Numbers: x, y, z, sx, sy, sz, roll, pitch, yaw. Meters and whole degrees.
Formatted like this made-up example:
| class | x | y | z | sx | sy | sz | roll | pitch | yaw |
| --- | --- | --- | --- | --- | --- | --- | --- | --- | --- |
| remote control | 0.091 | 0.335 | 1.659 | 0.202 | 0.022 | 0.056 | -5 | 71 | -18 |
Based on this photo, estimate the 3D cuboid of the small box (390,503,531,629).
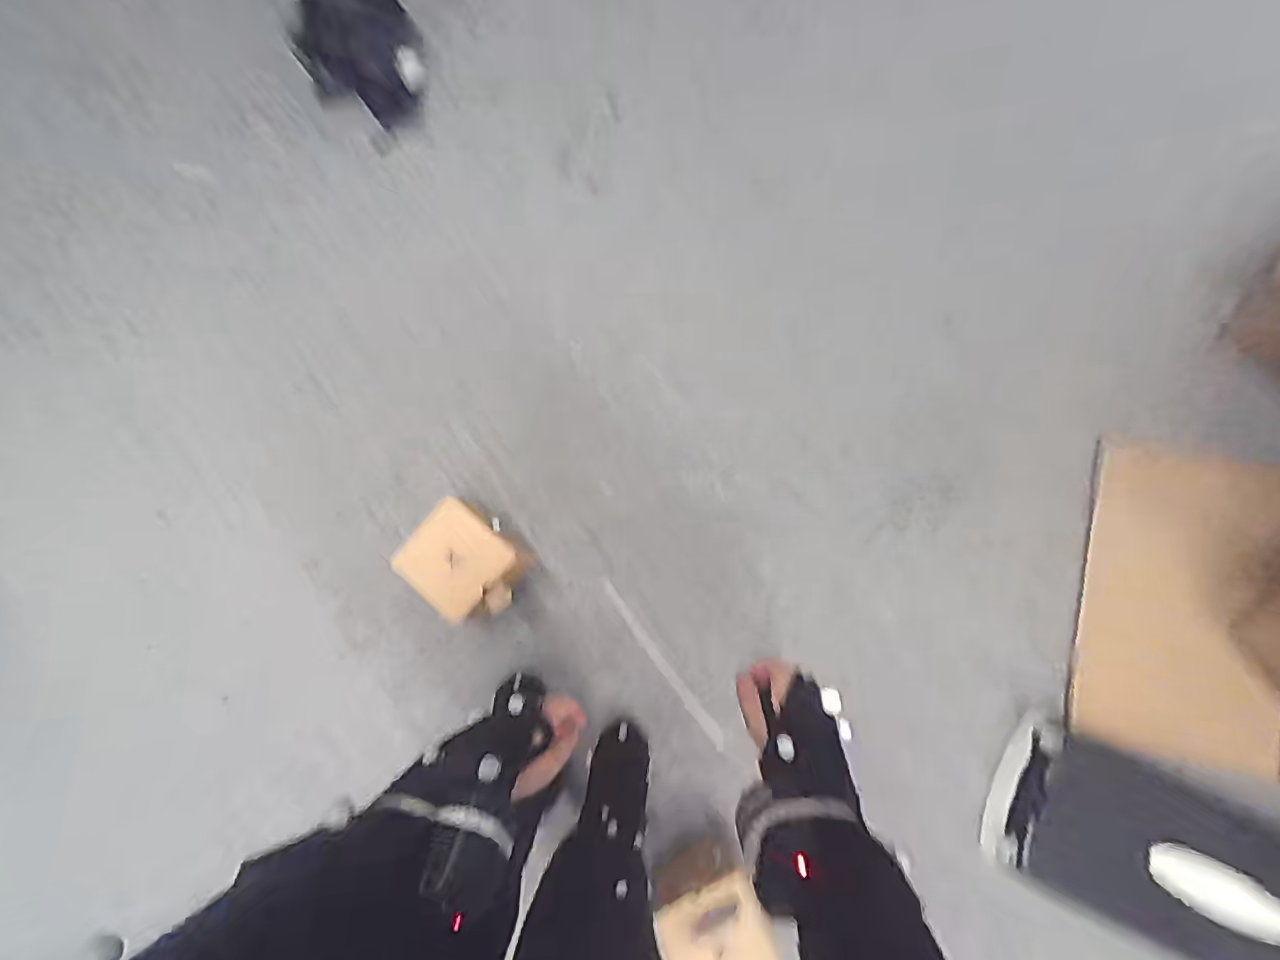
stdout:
| class | x | y | z | sx | sy | sz | roll | pitch | yaw |
| --- | --- | --- | --- | --- | --- | --- | --- | --- | --- |
| small box | -0.342 | 0.171 | 1.064 | 0.179 | 0.176 | 0.168 | 40 | 83 | 7 |
